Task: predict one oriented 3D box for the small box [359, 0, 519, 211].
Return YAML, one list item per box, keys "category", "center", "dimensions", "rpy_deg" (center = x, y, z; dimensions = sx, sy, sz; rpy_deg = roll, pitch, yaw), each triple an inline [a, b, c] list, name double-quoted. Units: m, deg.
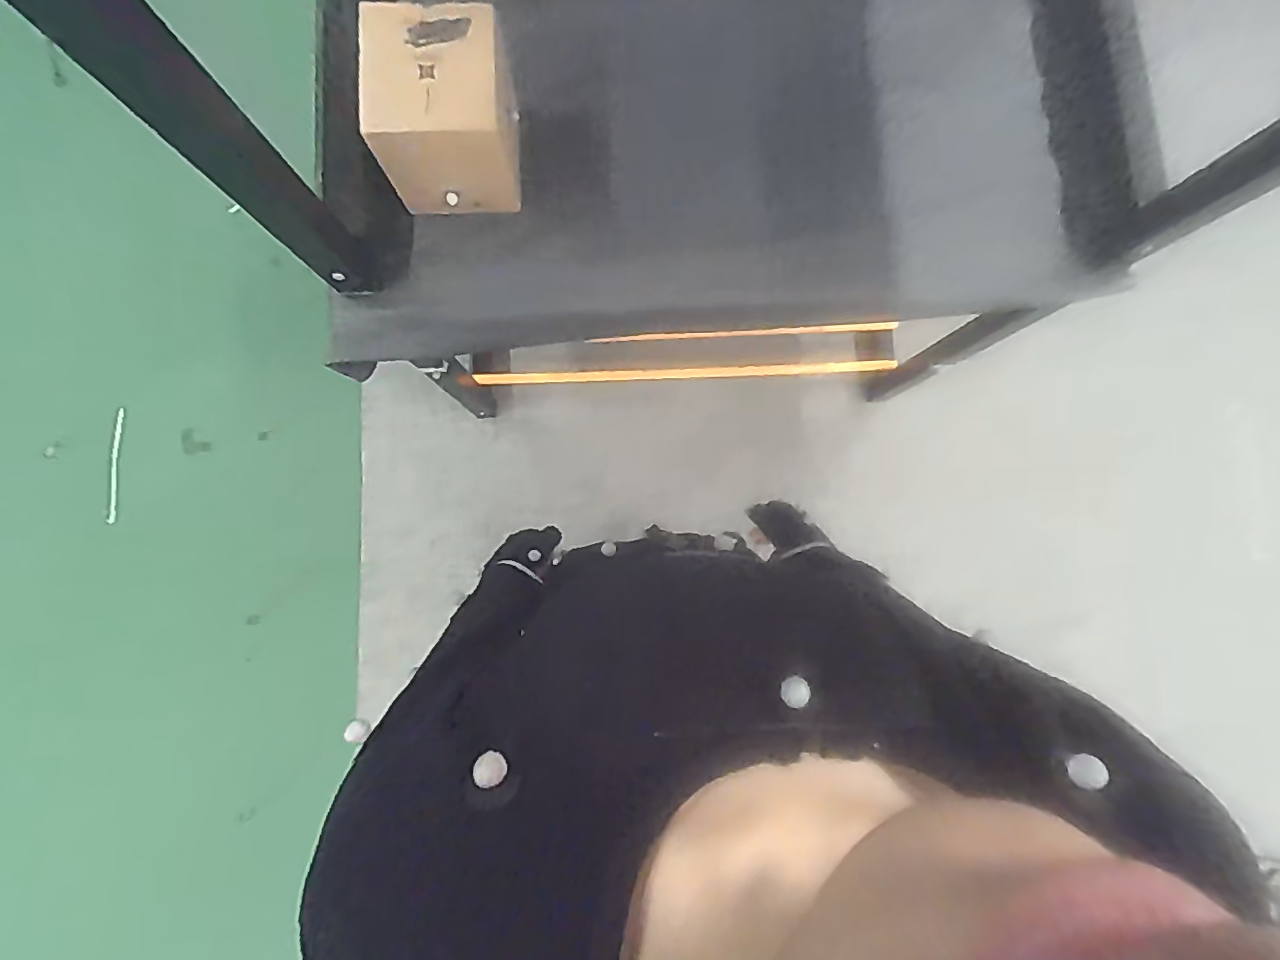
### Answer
- category: "small box"
  center: [-0.263, -0.501, 0.742]
  dimensions: [0.168, 0.176, 0.179]
  rpy_deg: [-3, 84, -3]
